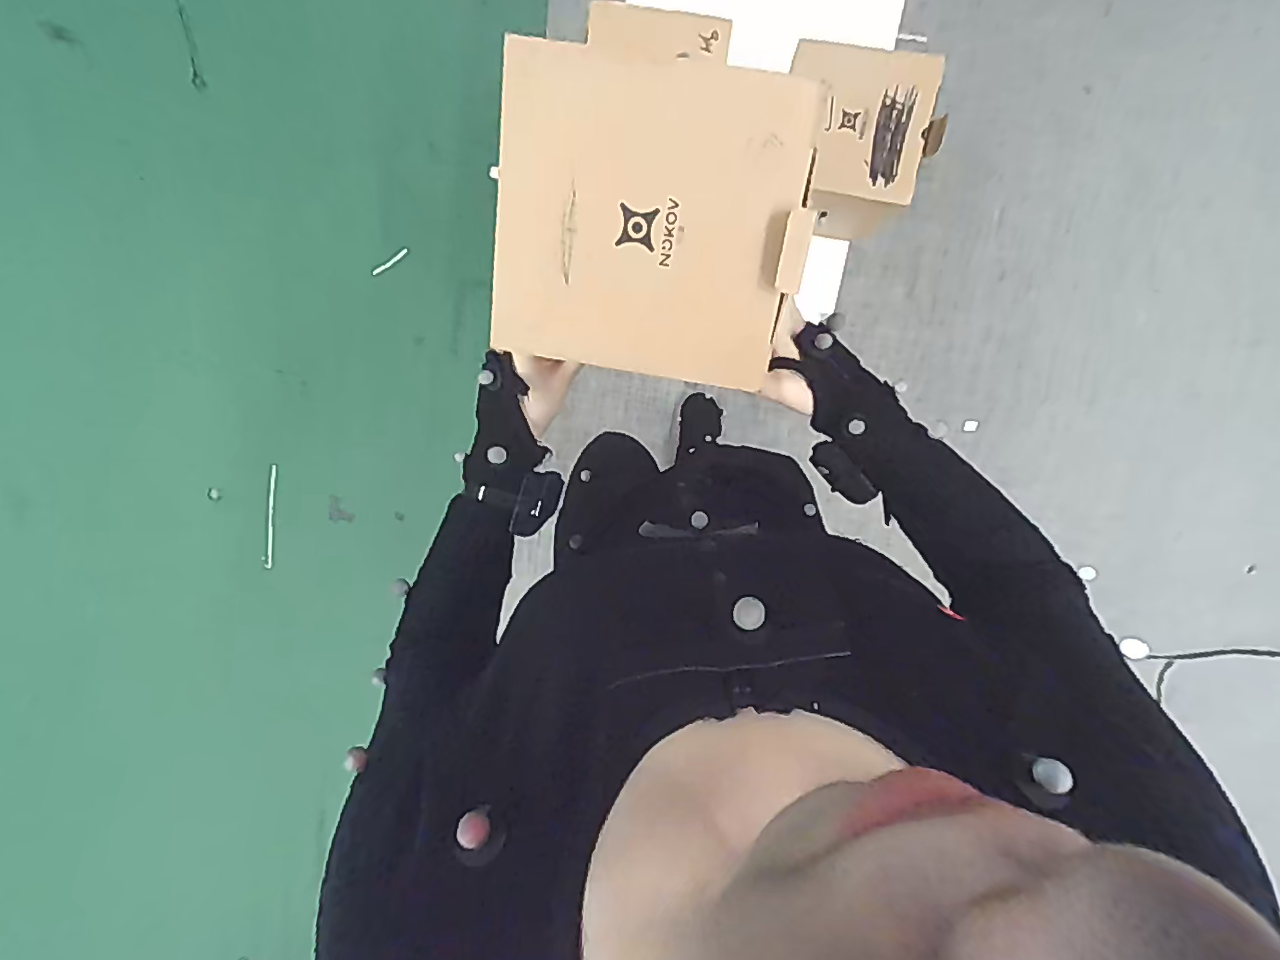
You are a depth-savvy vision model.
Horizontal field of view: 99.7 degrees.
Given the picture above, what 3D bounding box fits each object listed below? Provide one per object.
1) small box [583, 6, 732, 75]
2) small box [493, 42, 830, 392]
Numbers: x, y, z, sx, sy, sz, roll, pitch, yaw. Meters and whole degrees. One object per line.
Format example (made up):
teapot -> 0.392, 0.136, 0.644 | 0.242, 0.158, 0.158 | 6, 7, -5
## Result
small box -> 0.016, -0.489, 0.737 | 0.179, 0.176, 0.168 | 9, 100, 1
small box -> 0.011, -0.172, 0.390 | 0.179, 0.176, 0.168 | 10, 109, 3
